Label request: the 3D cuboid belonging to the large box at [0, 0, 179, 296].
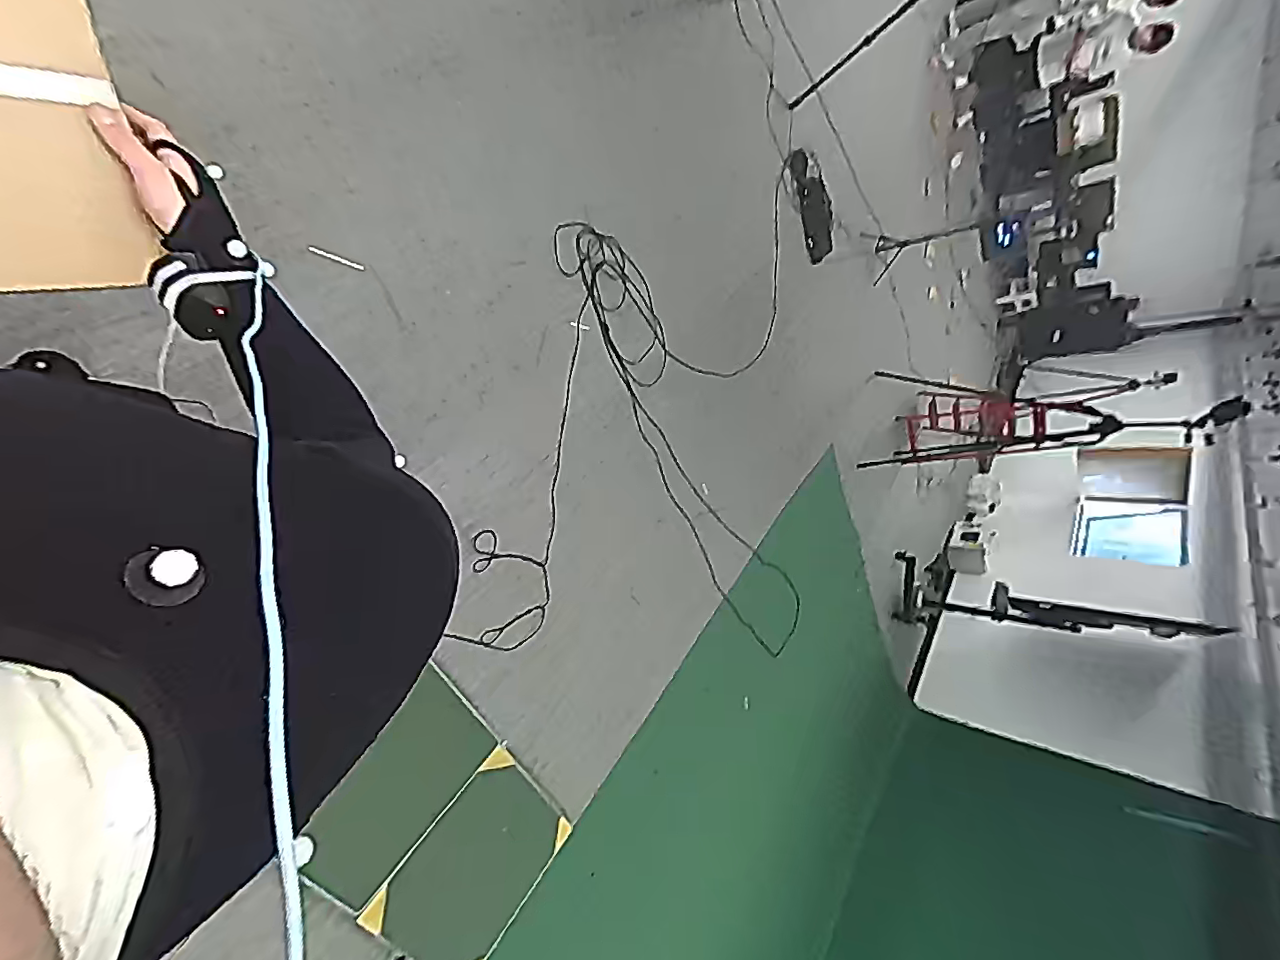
[{"bbox_3d":[-0.714,-0.317,0.452,0.408,0.320,0.320,-24,122,-42],"label":"large box"}]
